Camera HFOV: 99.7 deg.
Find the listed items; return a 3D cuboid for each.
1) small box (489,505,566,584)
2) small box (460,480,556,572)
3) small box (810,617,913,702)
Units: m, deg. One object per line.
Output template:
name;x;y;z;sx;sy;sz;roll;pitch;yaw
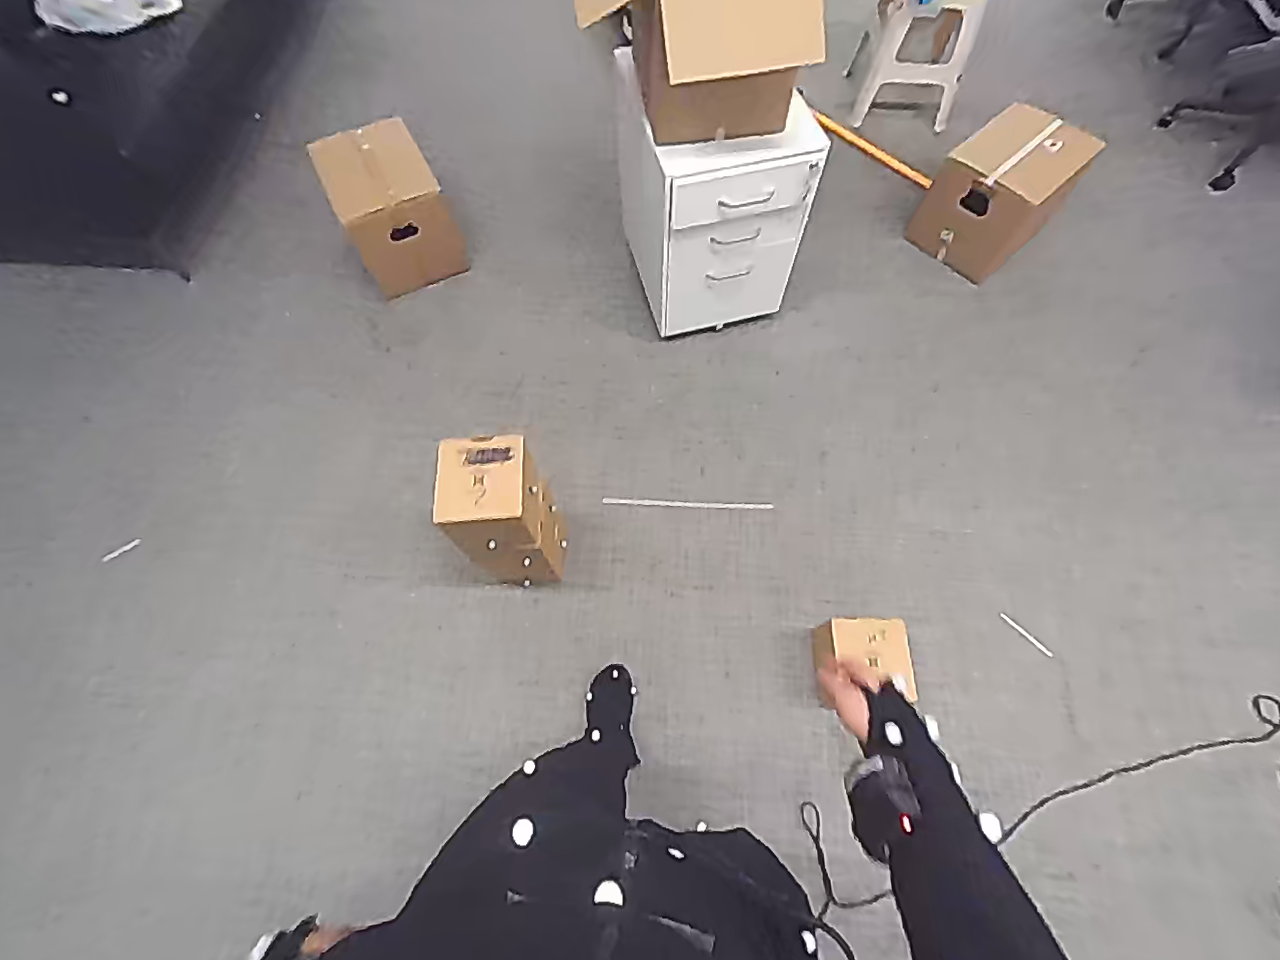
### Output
small box;-0.292;0.169;1.406;0.179;0.176;0.168;1;65;1
small box;-0.296;0.111;1.253;0.179;0.176;0.168;-3;64;2
small box;0.508;0.424;1.263;0.168;0.176;0.179;0;66;1
